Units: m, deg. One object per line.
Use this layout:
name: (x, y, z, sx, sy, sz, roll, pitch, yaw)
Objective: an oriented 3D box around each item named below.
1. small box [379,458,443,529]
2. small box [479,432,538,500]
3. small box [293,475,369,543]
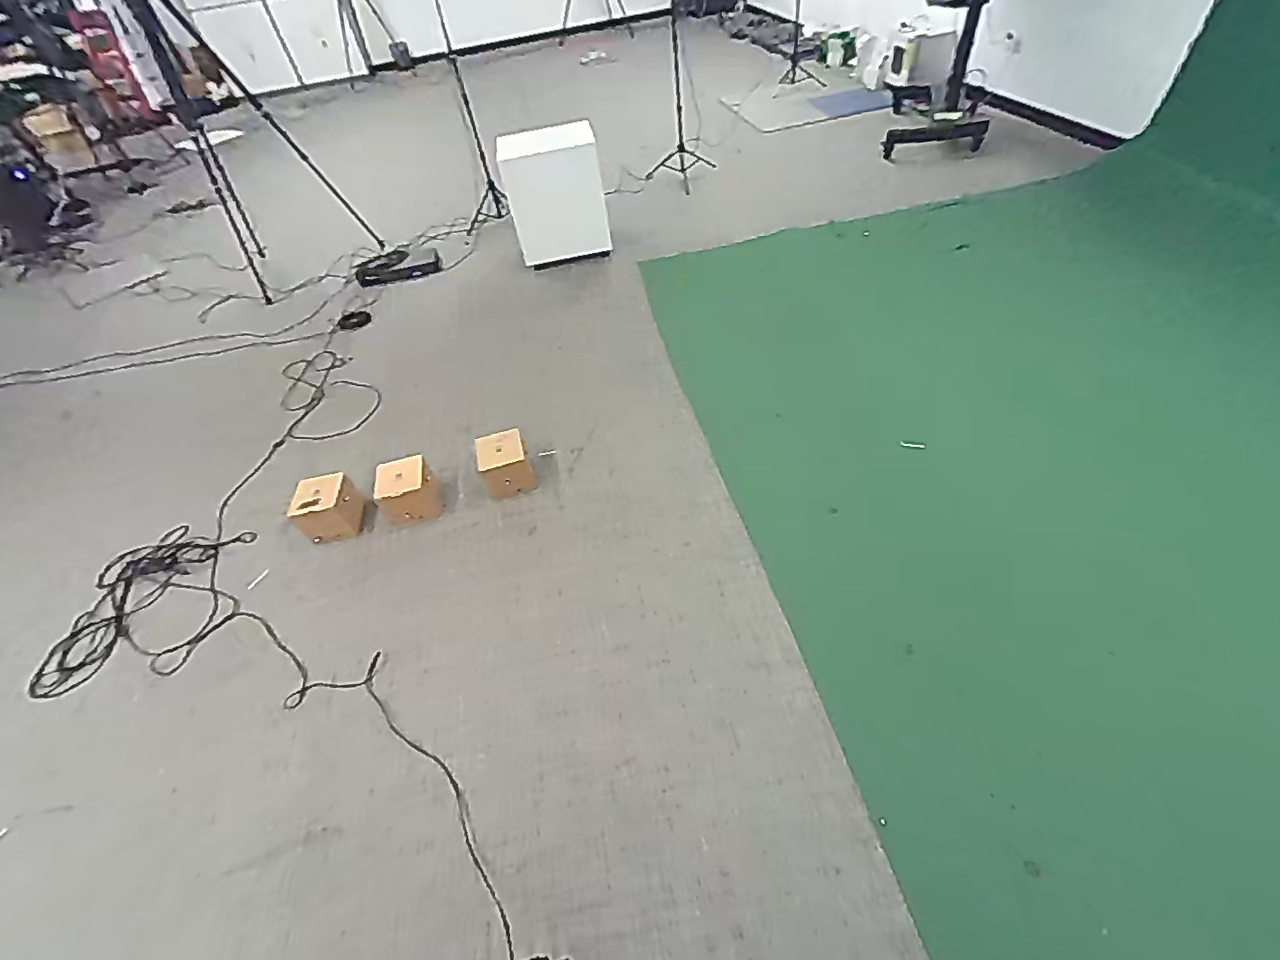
small box: (-0.834, 0.051, 1.984, 0.168, 0.176, 0.179, -15, 49, -4)
small box: (-0.489, -0.046, 2.015, 0.168, 0.176, 0.179, -16, 48, -6)
small box: (-1.118, 0.112, 1.973, 0.168, 0.176, 0.179, -11, 47, -1)
